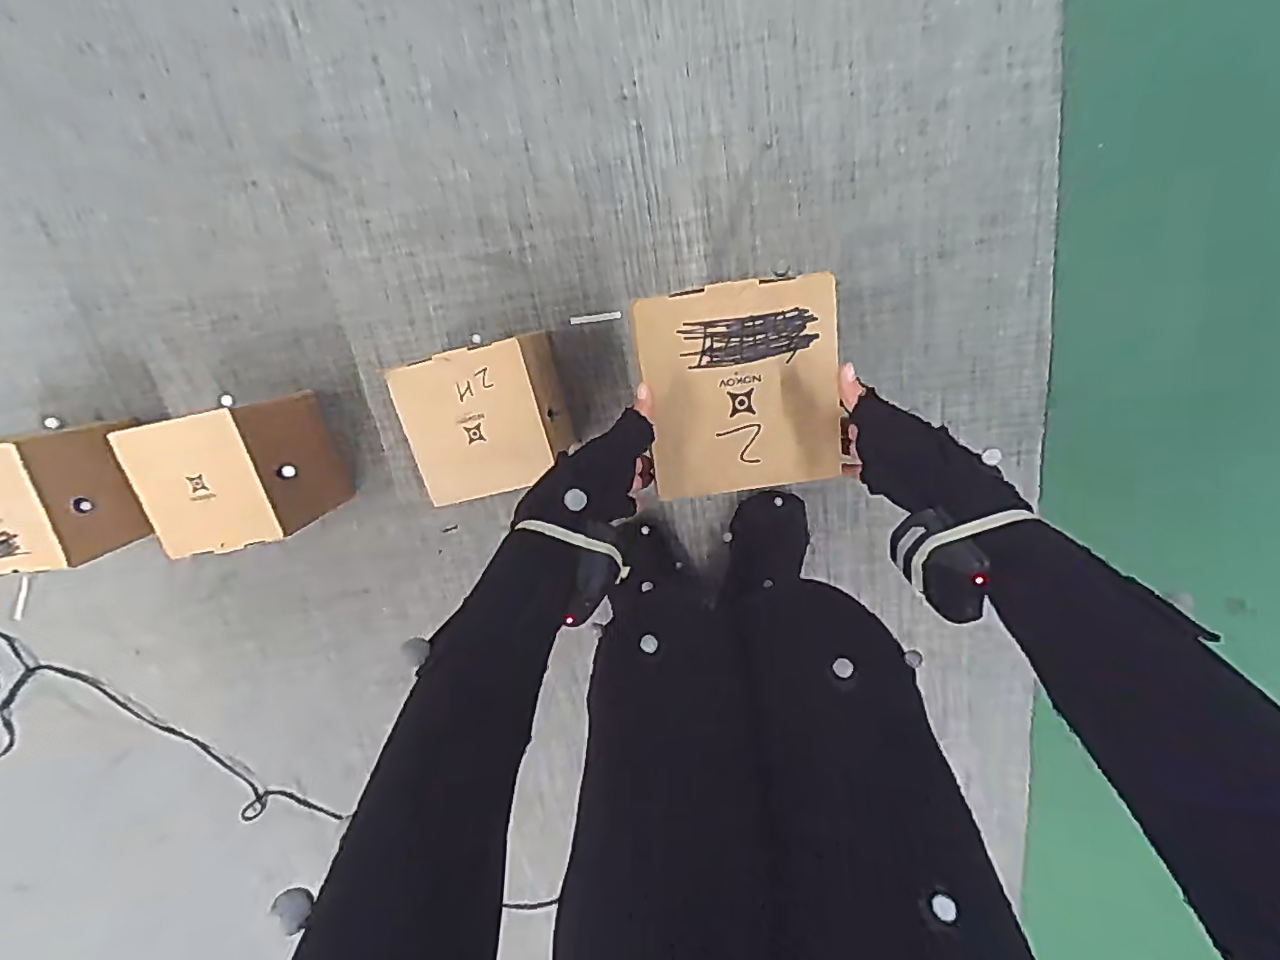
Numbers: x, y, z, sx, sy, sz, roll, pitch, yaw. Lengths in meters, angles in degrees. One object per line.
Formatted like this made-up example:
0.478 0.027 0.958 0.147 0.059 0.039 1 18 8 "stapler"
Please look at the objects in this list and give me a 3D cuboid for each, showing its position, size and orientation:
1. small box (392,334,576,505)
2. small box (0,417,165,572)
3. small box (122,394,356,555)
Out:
-0.191 -0.089 0.726 0.168 0.176 0.179 -13 107 4 "small box"
-0.831 0.016 0.781 0.168 0.176 0.179 -6 106 4 "small box"
-0.543 -0.019 0.761 0.168 0.176 0.179 -11 107 6 "small box"
